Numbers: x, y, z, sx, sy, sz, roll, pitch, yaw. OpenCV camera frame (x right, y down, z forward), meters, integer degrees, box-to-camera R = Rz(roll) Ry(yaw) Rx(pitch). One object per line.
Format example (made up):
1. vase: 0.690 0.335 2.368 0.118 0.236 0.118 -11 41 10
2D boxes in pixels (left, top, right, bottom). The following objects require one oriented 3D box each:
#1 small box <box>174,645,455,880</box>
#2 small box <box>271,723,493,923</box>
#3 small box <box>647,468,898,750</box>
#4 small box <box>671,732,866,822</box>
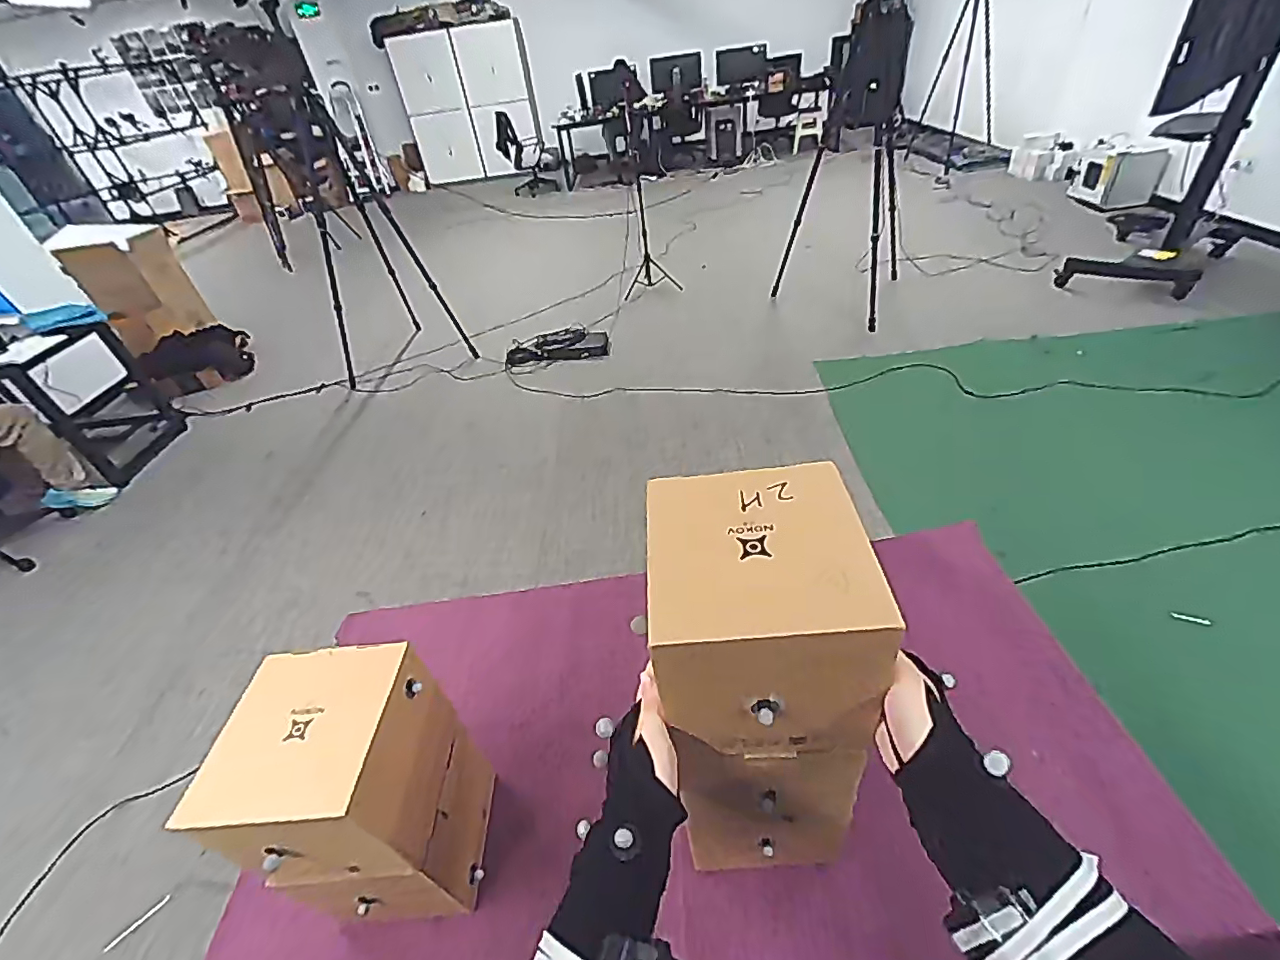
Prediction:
1. small box: -0.318 0.305 0.580 0.168 0.176 0.179 -6 38 4
2. small box: -0.300 0.431 0.680 0.179 0.176 0.168 -7 39 3
3. small box: 0.099 0.114 0.464 0.168 0.176 0.179 -5 39 5
4. small box: 0.123 0.240 0.568 0.168 0.176 0.179 -4 40 6
